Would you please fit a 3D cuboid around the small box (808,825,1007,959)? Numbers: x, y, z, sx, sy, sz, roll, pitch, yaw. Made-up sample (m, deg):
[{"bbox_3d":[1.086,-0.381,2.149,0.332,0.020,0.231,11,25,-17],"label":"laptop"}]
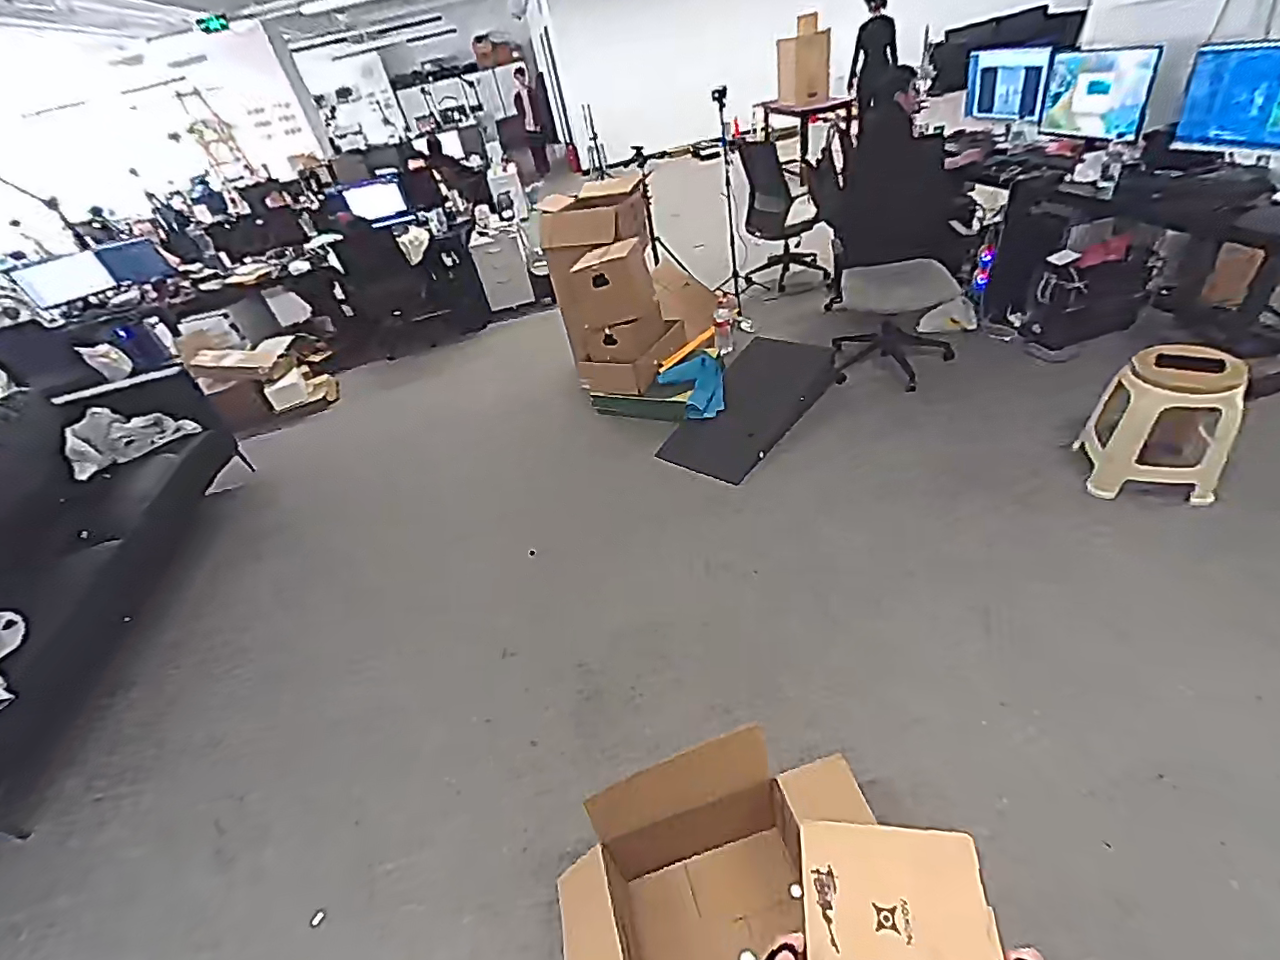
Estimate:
[{"bbox_3d":[0.278,0.498,0.582,0.179,0.176,0.168,-4,43,18],"label":"small box"}]
